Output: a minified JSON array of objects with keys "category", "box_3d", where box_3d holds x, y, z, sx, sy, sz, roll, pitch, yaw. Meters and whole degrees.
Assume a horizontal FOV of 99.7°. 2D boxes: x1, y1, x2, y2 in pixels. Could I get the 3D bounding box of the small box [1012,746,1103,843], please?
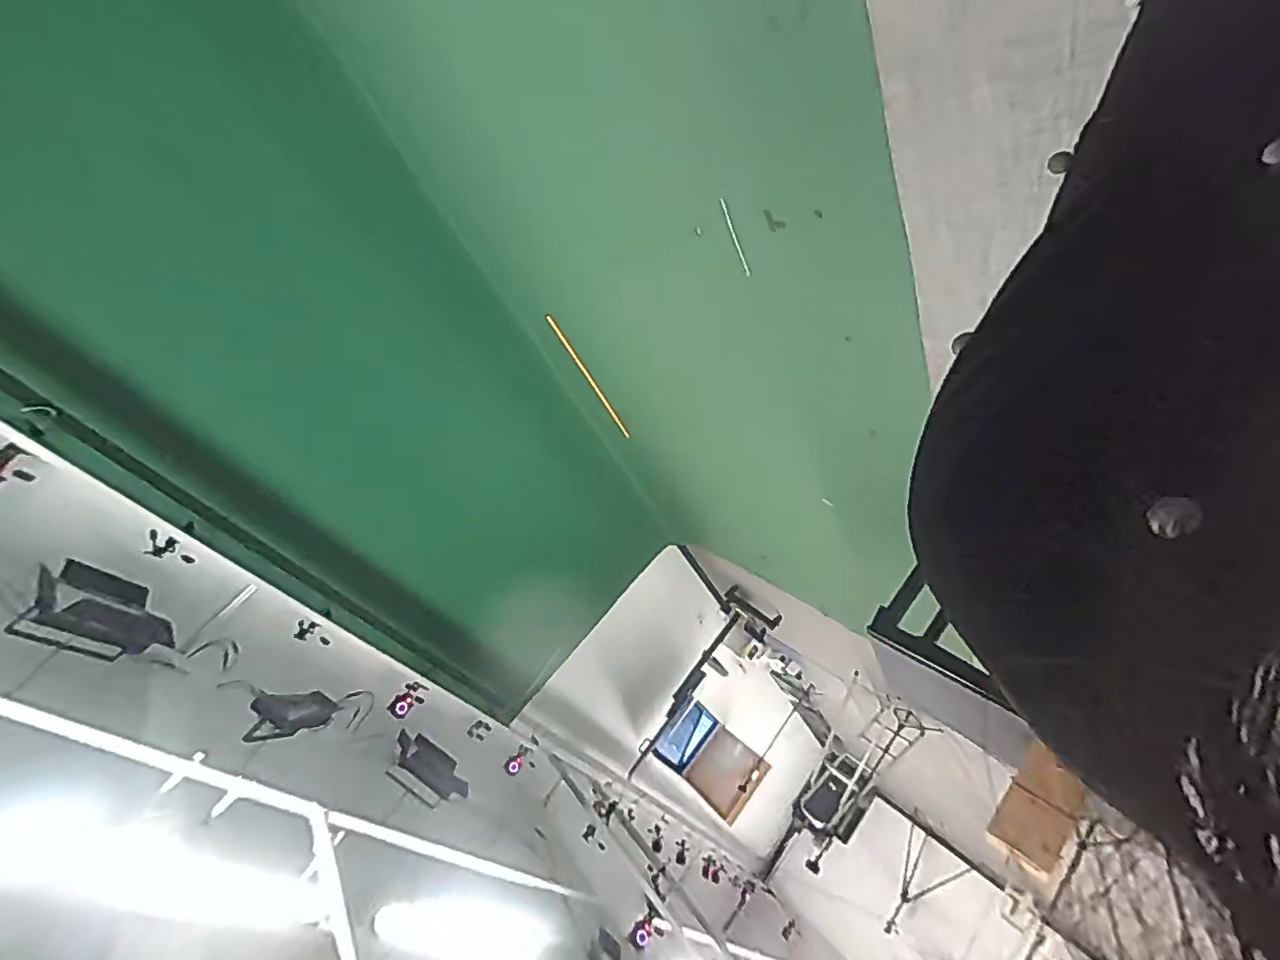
[{"category":"small box","box_3d":[1.251,0.942,1.624,0.168,0.176,0.179,26,158,45]}]
